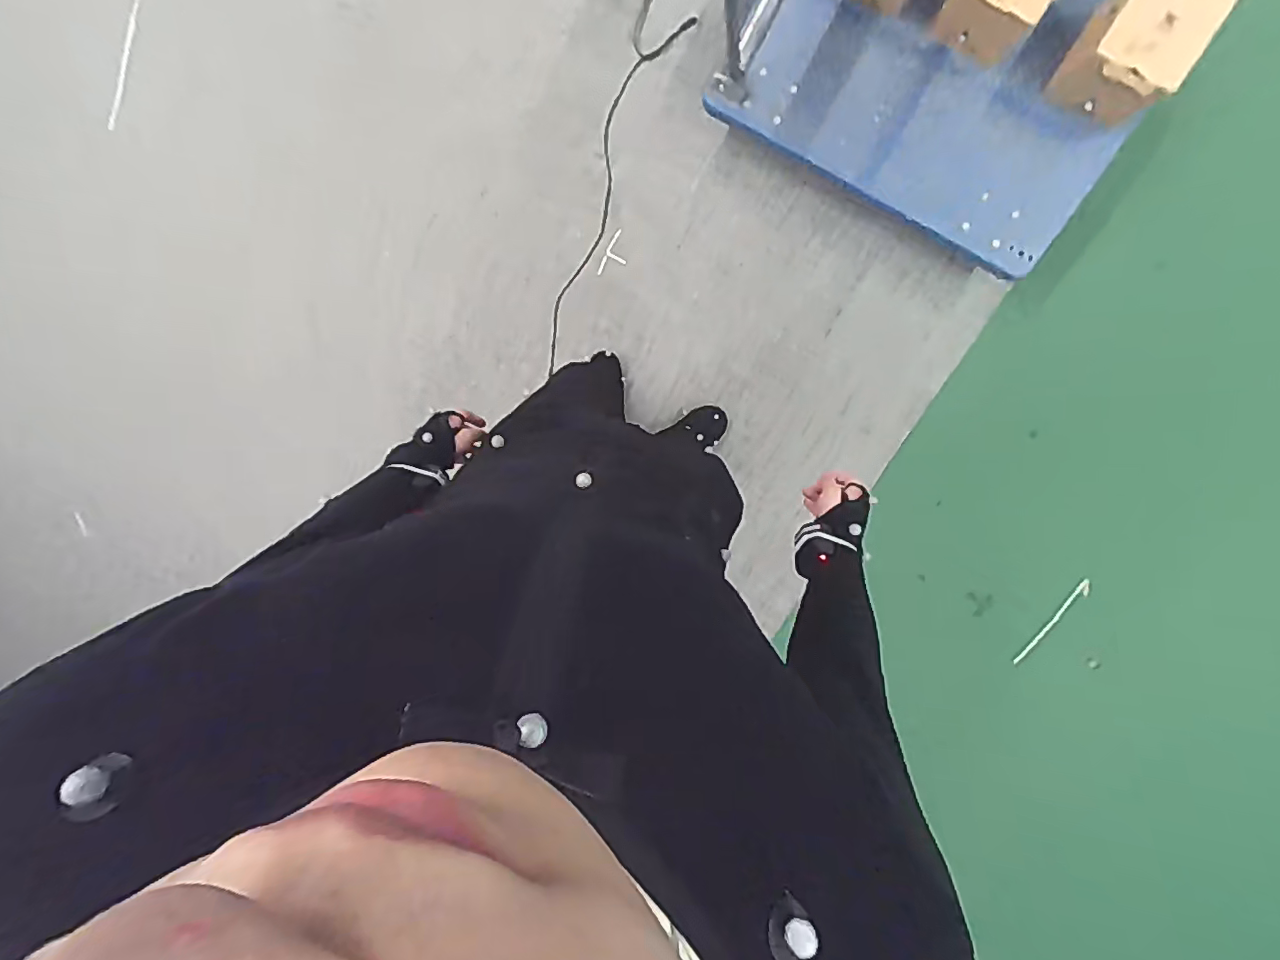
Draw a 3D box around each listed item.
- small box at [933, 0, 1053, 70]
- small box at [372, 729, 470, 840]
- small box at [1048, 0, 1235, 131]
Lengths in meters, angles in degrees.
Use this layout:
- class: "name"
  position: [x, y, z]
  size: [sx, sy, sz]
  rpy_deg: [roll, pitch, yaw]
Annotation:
- class: "small box"
  position: [0.725, -0.979, 1.074]
  size: [0.168, 0.176, 0.179]
  rpy_deg: [30, 106, 0]
- class: "small box"
  position: [-0.602, 0.843, 1.515]
  size: [0.168, 0.176, 0.179]
  rpy_deg: [33, 104, -1]
- class: "small box"
  position: [0.970, -0.843, 1.069]
  size: [0.168, 0.176, 0.179]
  rpy_deg: [30, 105, 1]
